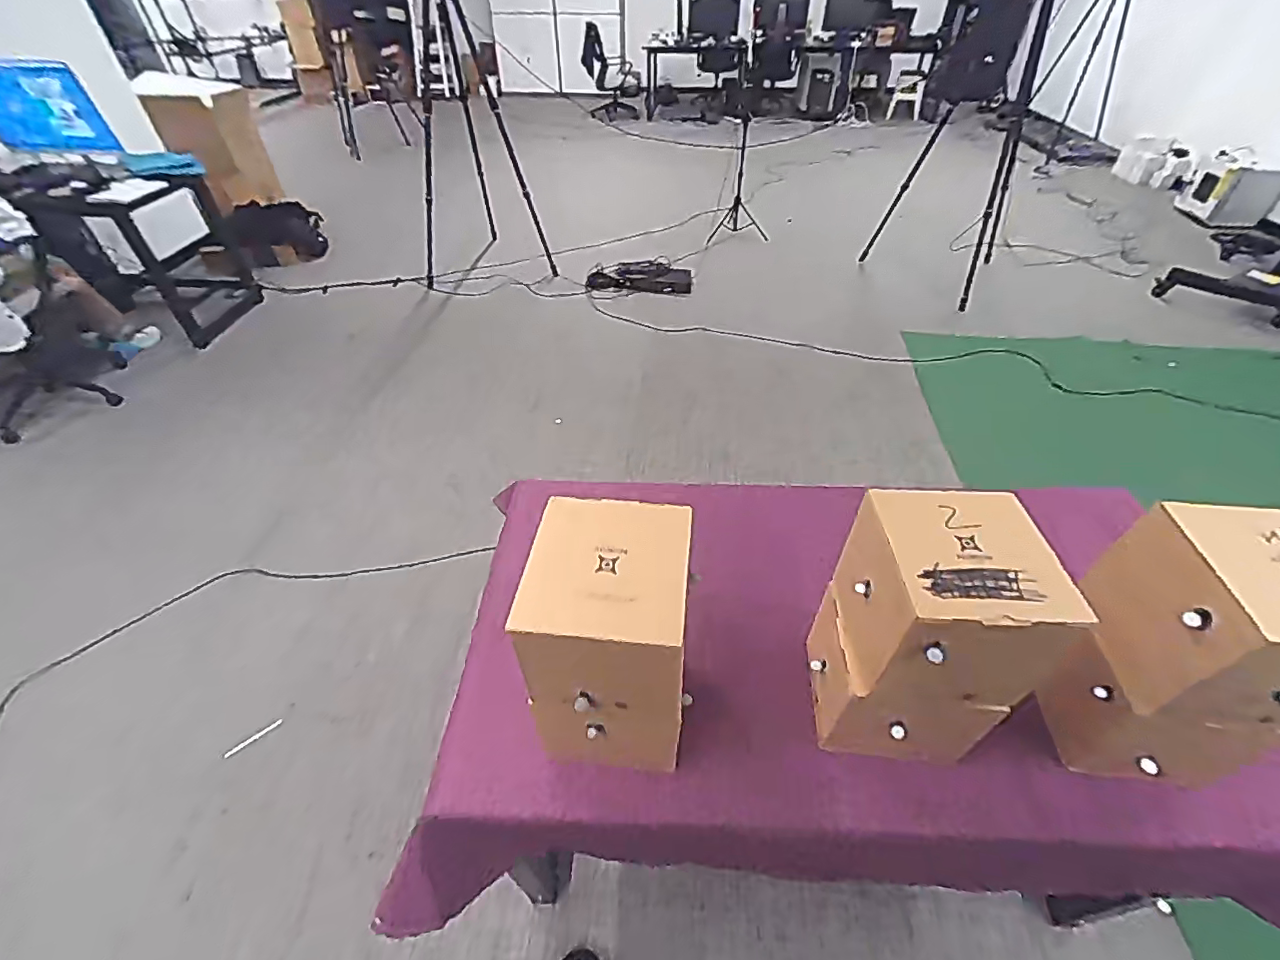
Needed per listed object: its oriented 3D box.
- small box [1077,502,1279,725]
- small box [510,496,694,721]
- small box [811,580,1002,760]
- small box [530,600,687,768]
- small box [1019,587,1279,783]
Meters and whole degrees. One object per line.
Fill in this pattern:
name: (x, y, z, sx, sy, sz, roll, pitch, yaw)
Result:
small box: (0.643, 0.148, 0.595, 0.168, 0.176, 0.179, 4, 44, 5)
small box: (-0.032, 0.143, 0.611, 0.168, 0.176, 0.179, 5, 44, 6)
small box: (0.333, 0.256, 0.725, 0.179, 0.176, 0.168, 4, 44, 6)
small box: (-0.032, 0.264, 0.721, 0.179, 0.176, 0.168, 4, 43, 4)
small box: (0.644, 0.267, 0.709, 0.168, 0.176, 0.179, 5, 44, 6)
